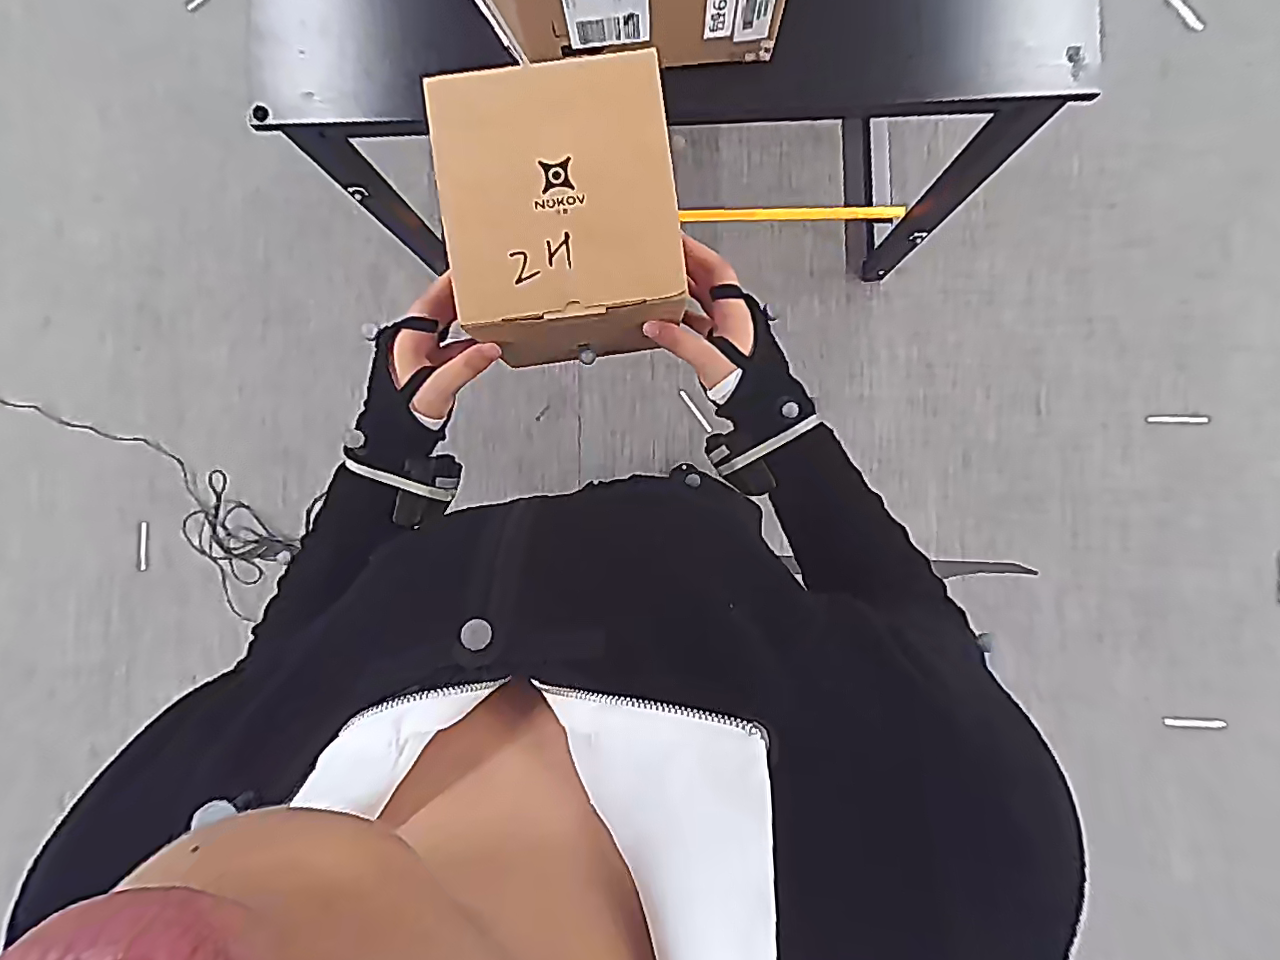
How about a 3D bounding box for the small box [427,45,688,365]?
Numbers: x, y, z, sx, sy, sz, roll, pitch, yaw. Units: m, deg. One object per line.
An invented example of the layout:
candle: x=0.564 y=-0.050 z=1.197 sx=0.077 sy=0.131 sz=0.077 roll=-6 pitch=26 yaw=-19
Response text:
small box: x=-0.058 y=-0.207 z=0.454 sx=0.168 sy=0.176 sz=0.179 roll=-8 pitch=91 yaw=0
